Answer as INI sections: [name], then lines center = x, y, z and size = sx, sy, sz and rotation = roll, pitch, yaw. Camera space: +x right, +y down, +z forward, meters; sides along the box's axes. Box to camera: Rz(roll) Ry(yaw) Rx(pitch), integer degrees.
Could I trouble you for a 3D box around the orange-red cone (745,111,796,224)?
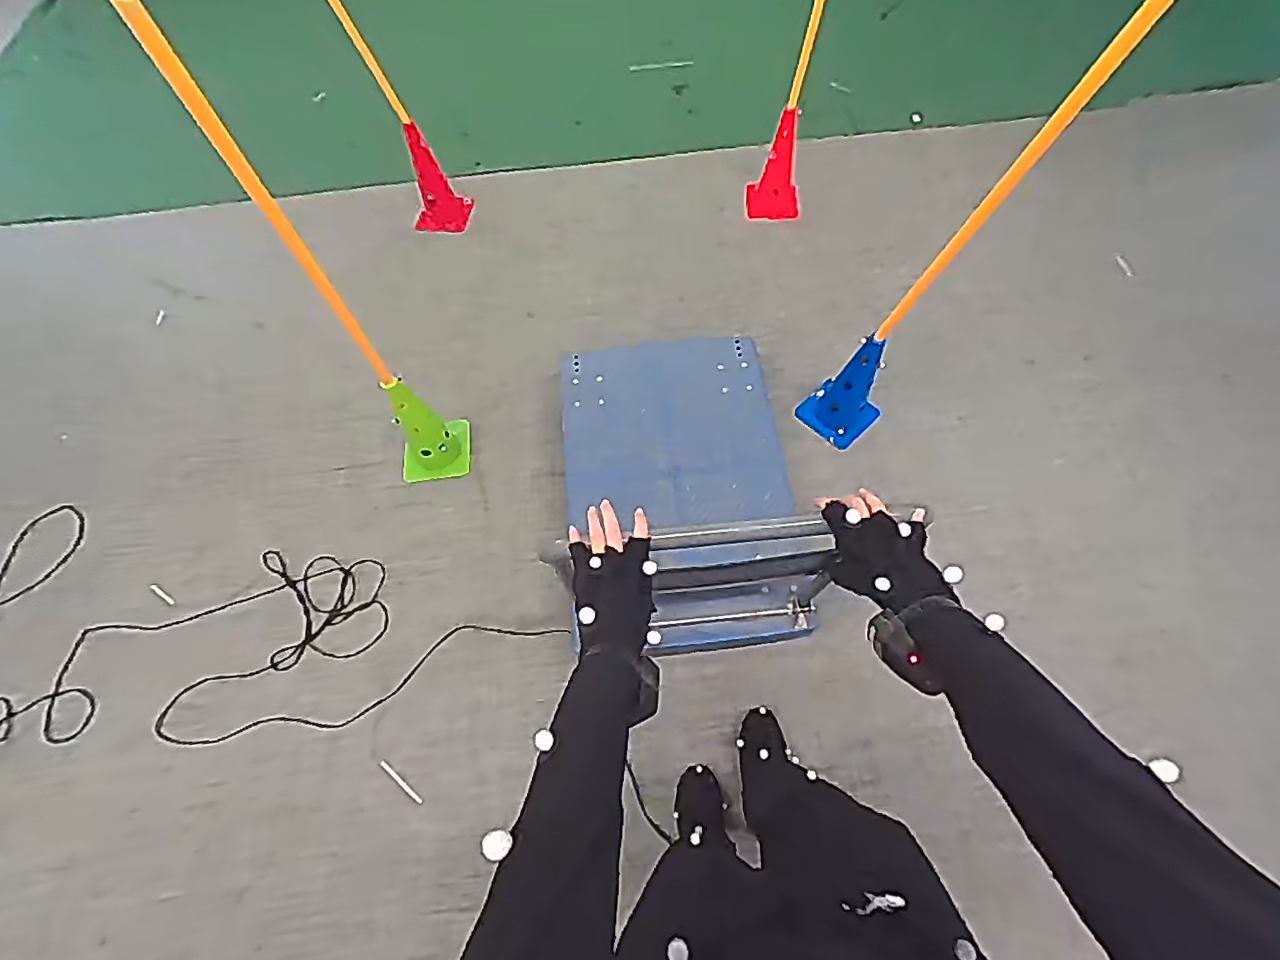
[orange-red cone]
center = 0.504, -1.150, 1.974
size = 0.198, 0.360, 0.199
rotation = 3, 65, 4
